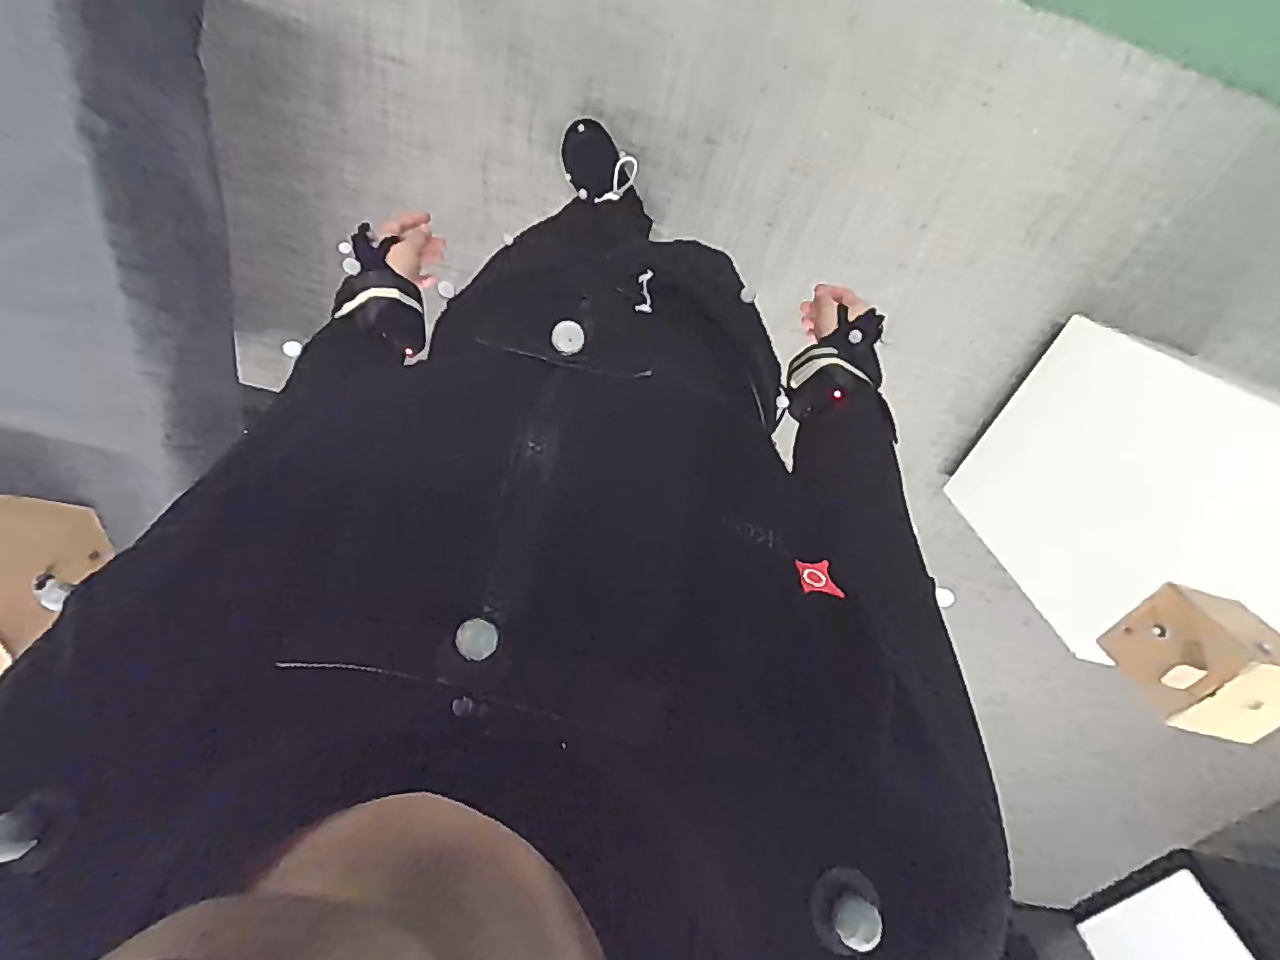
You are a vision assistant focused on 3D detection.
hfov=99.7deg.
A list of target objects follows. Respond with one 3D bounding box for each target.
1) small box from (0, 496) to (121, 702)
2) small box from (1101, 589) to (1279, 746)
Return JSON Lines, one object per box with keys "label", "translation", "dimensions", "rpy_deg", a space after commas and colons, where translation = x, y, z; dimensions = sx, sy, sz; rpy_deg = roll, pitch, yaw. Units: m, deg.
{"label": "small box", "translation": [-0.780, 0.132, 0.643], "dimensions": [0.179, 0.176, 0.168], "rpy_deg": [10, 121, -4]}
{"label": "small box", "translation": [0.940, 0.304, 0.891], "dimensions": [0.179, 0.176, 0.168], "rpy_deg": [15, 122, -9]}
